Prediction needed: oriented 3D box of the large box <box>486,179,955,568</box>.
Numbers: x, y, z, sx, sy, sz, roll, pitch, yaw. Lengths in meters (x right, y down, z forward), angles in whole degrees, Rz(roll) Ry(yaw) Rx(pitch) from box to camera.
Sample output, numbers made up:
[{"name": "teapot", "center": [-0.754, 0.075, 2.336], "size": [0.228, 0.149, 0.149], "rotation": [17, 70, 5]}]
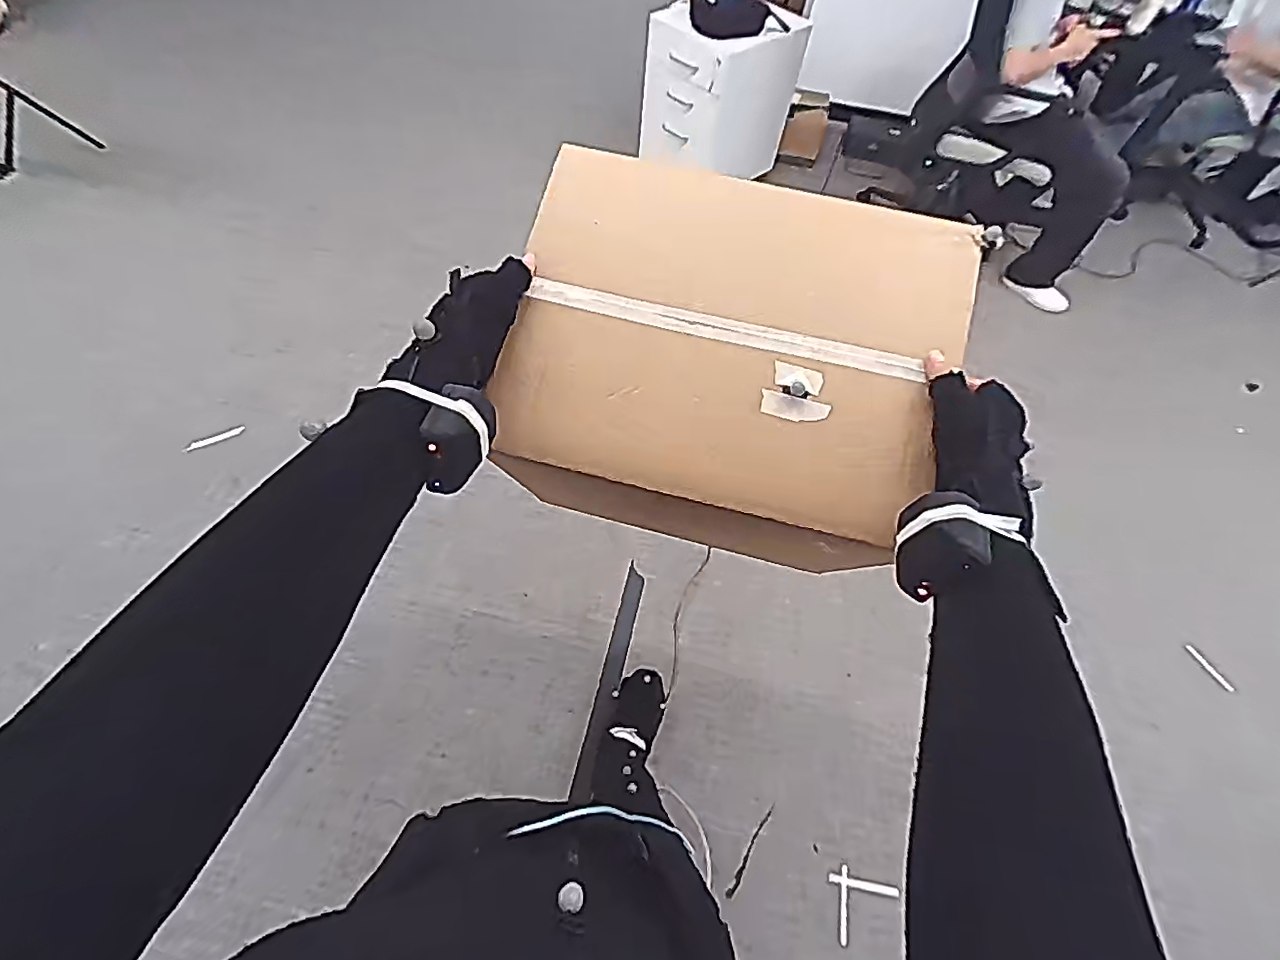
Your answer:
[{"name": "large box", "center": [0.083, -0.092, 0.658], "size": [0.408, 0.320, 0.320], "rotation": [14, 80, 3]}]
